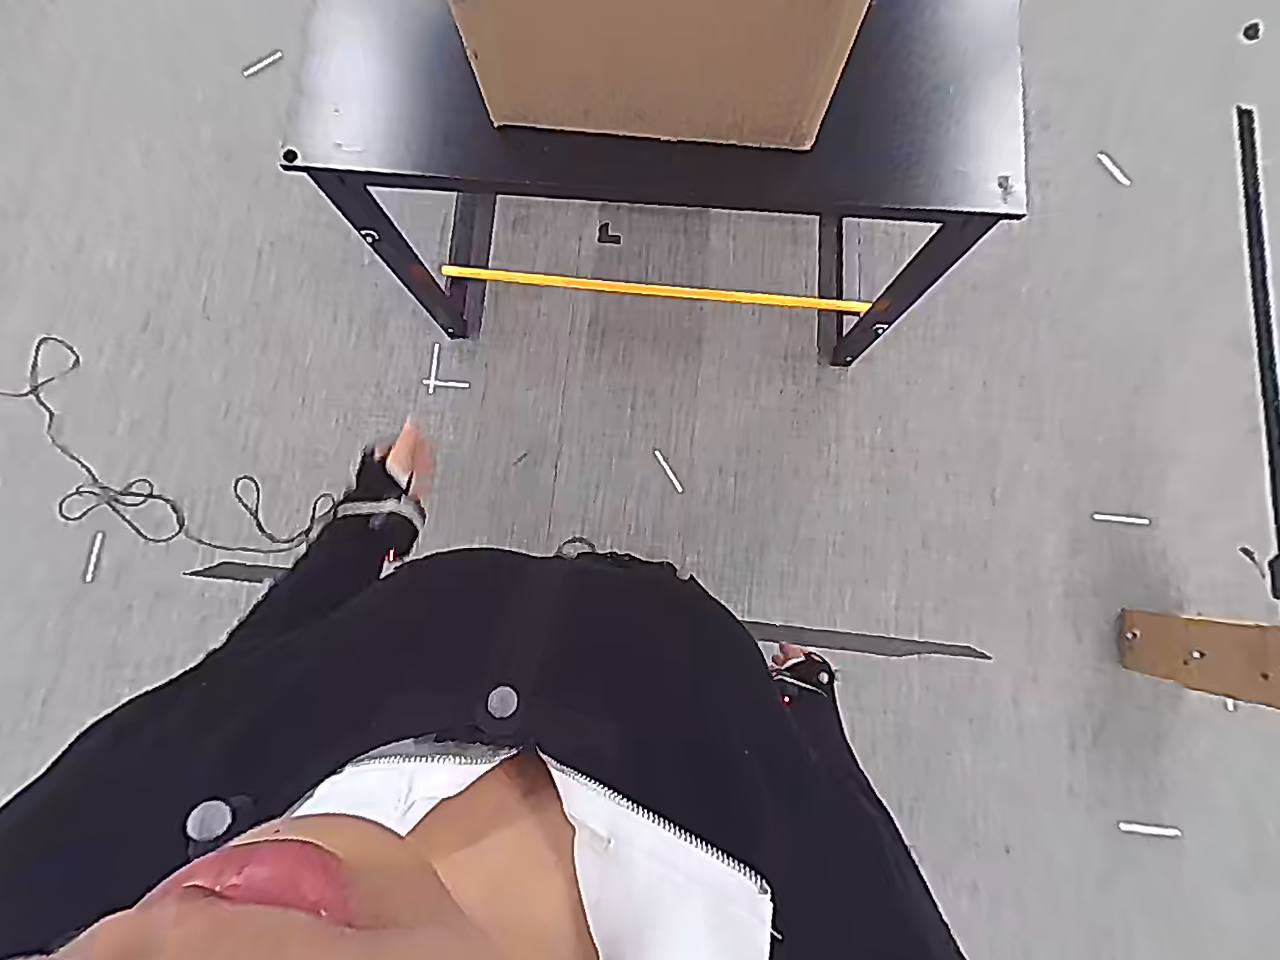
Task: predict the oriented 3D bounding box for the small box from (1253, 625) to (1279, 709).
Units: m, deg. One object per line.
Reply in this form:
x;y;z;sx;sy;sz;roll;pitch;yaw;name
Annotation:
1.370;0.382;1.058;0.179;0.176;0.168;6;81;2;small box

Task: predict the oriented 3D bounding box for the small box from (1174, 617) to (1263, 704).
1.373;0.407;1.219;0.179;0.176;0.168;6;81;1;small box

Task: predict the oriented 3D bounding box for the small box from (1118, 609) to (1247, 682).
1.384;0.425;1.383;0.179;0.176;0.168;5;81;2;small box
